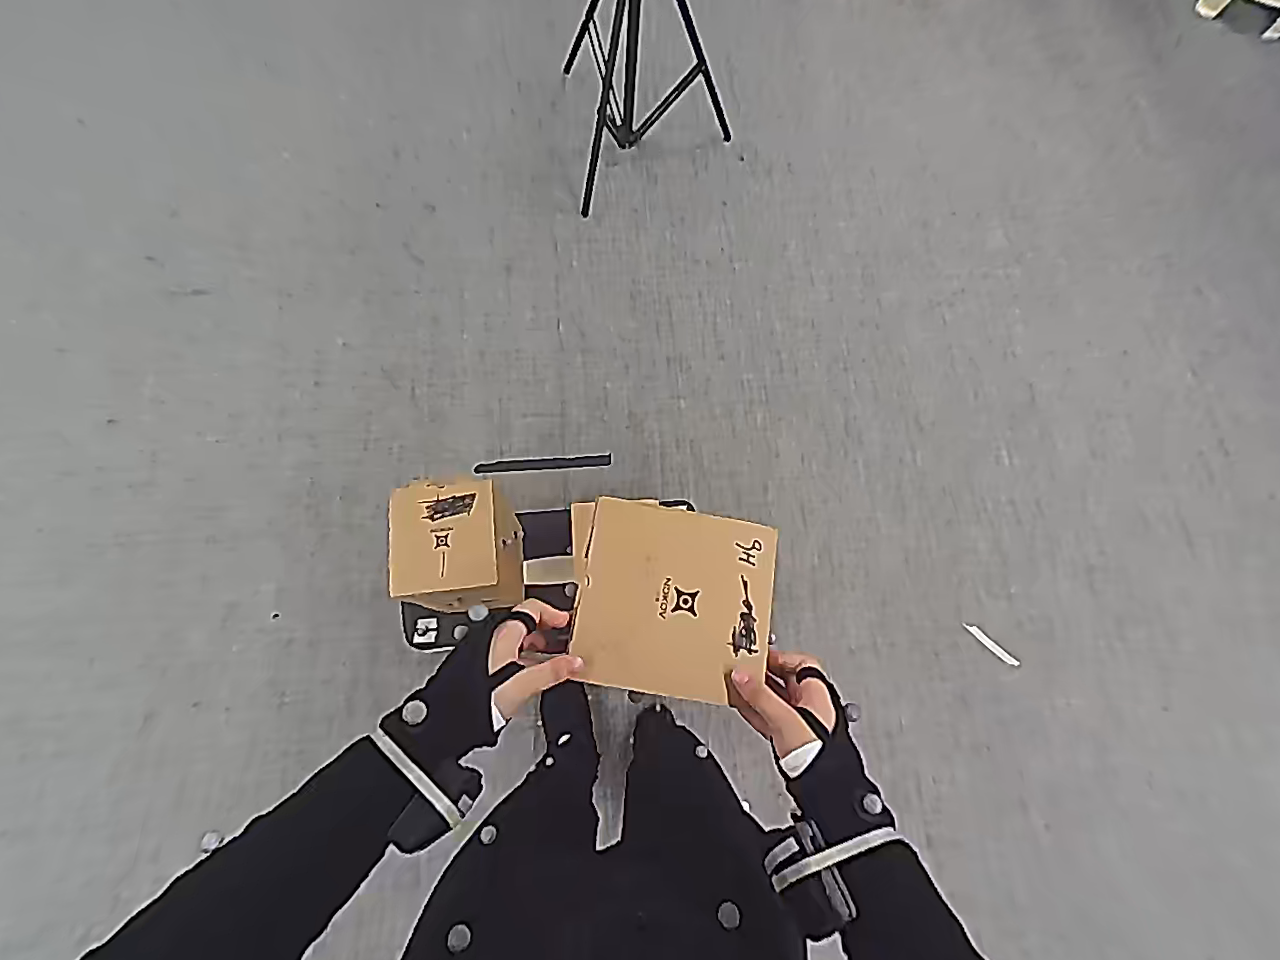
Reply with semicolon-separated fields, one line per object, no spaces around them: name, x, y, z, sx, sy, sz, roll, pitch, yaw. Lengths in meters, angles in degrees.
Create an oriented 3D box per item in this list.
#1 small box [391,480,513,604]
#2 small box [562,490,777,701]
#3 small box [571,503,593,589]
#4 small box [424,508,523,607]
small box;-0.317;0.113;0.934;0.168;0.176;0.179;-6;74;-6
small box;0.026;0.125;0.558;0.179;0.176;0.168;10;71;-1
small box;-0.049;0.142;1.122;0.179;0.176;0.168;-4;73;-4
small box;-0.328;0.165;1.089;0.168;0.176;0.179;-5;74;-6
